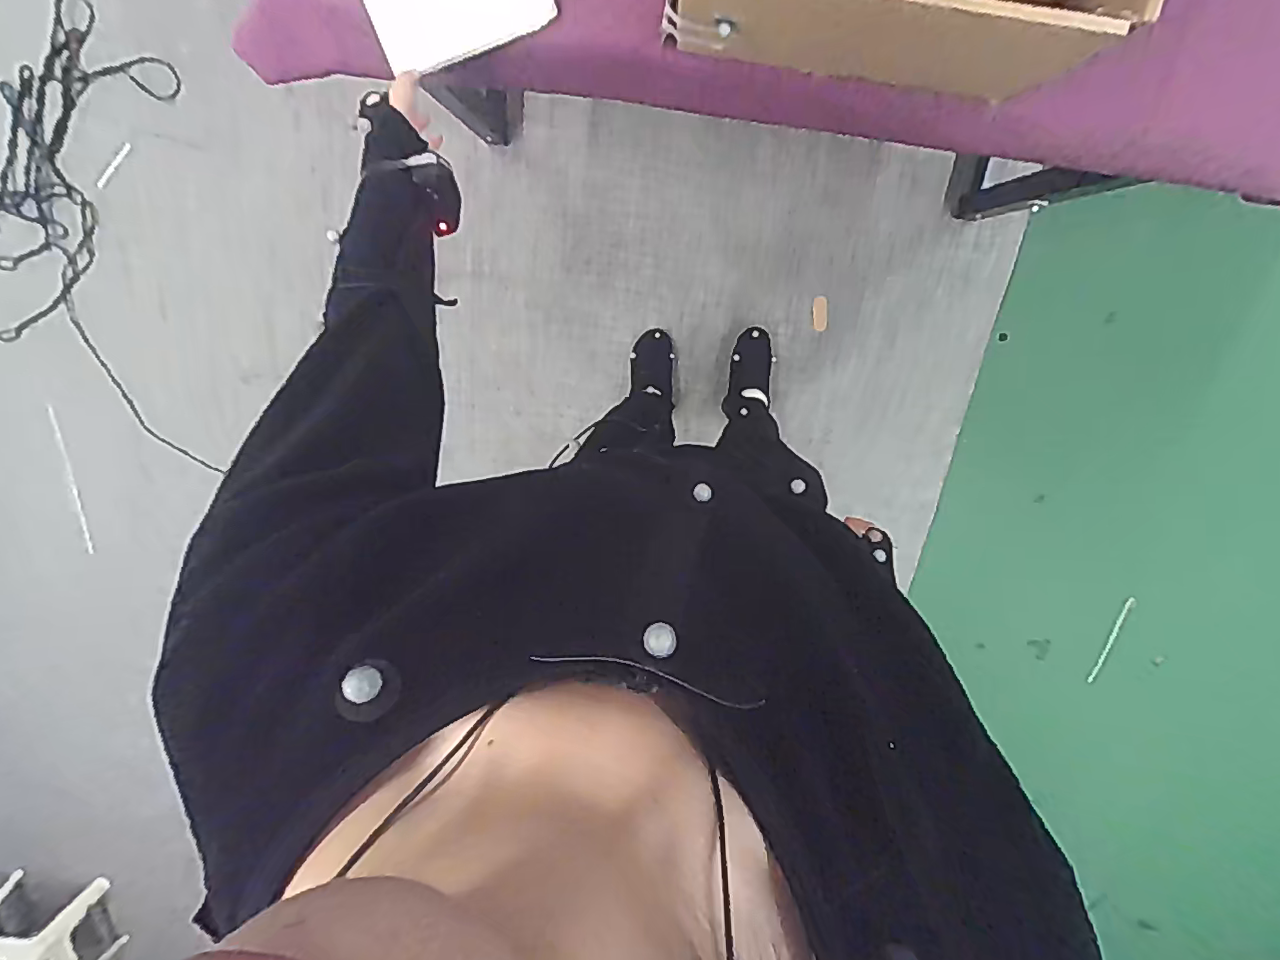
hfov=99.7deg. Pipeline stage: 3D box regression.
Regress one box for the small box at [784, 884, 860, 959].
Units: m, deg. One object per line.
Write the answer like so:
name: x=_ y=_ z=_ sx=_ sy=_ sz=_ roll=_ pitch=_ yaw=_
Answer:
small box: x=0.507 y=1.275 z=1.520 sx=0.168 sy=0.176 sz=0.179 roll=-6 pitch=107 yaw=4
